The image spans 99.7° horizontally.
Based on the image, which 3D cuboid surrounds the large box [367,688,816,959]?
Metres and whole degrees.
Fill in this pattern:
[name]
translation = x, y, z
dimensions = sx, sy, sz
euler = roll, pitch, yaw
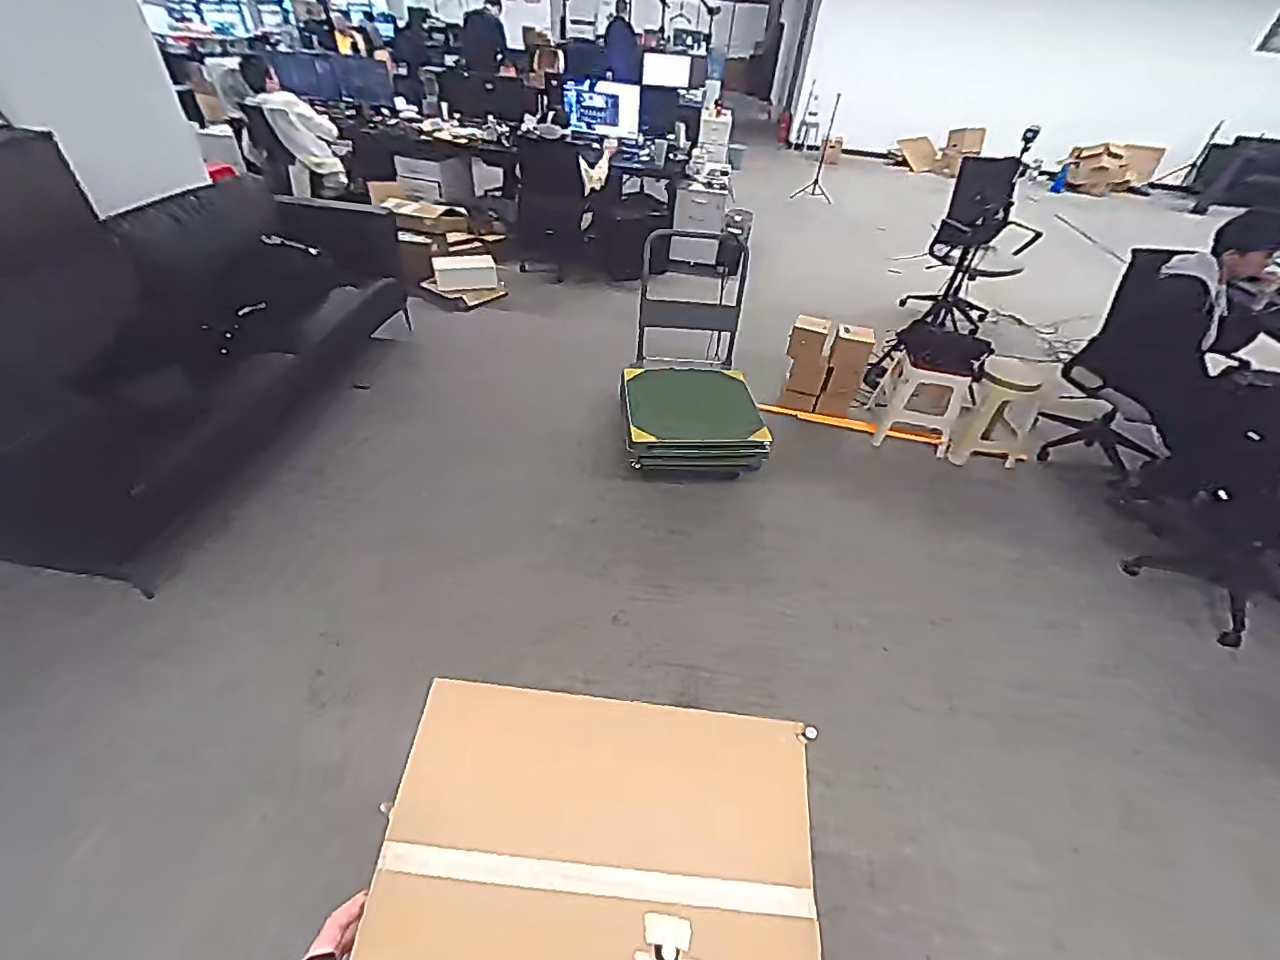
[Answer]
[large box]
translation = -0.047, 0.455, 0.632
dimensions = 0.408, 0.320, 0.320
euler = 7, 58, -1
